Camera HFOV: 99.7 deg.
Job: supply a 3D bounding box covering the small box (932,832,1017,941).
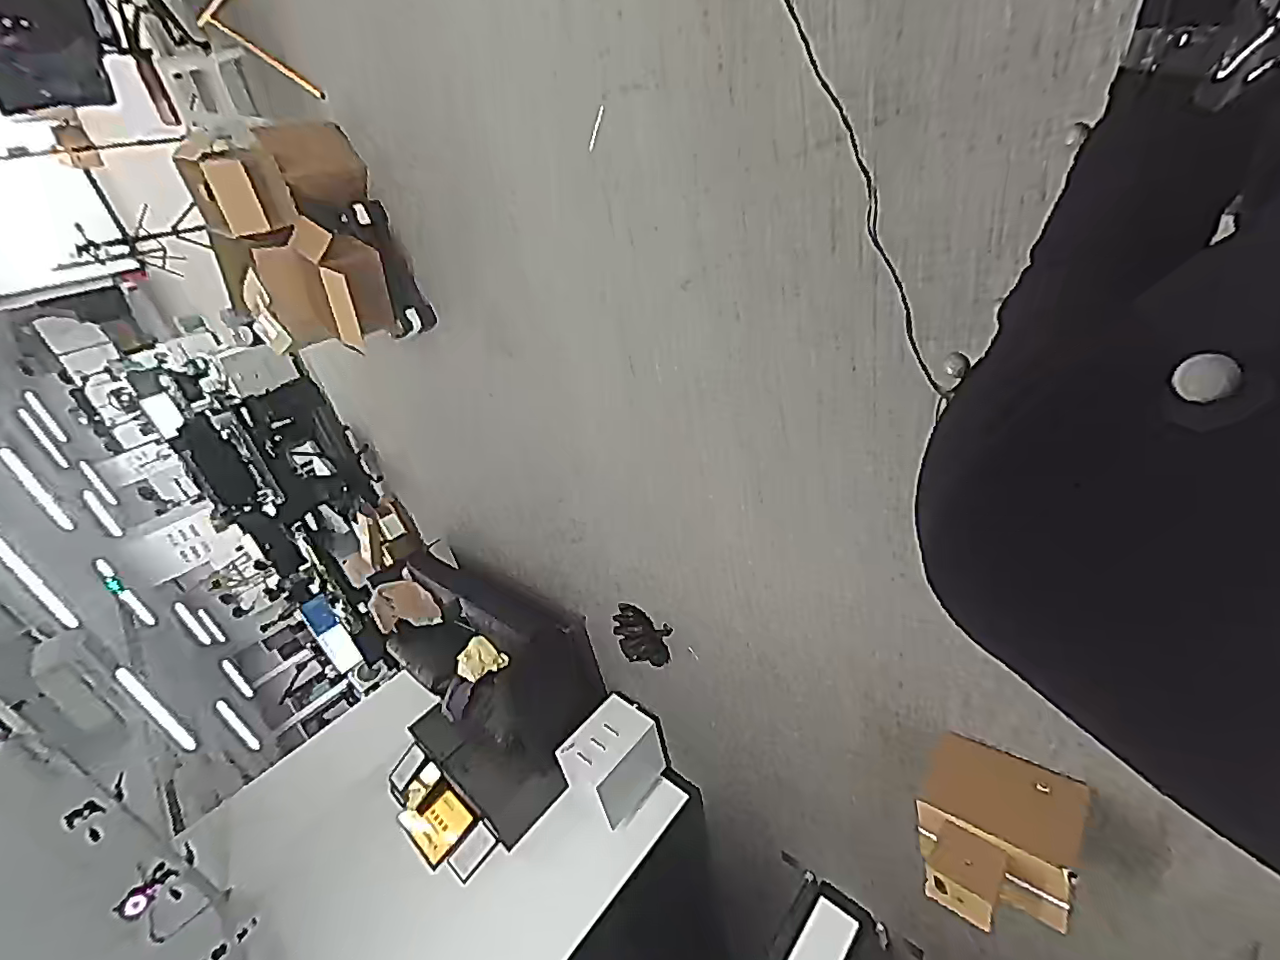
[{"bbox_3d":[0.999,1.202,1.619,0.179,0.176,0.168,12,126,43],"label":"small box"}]
